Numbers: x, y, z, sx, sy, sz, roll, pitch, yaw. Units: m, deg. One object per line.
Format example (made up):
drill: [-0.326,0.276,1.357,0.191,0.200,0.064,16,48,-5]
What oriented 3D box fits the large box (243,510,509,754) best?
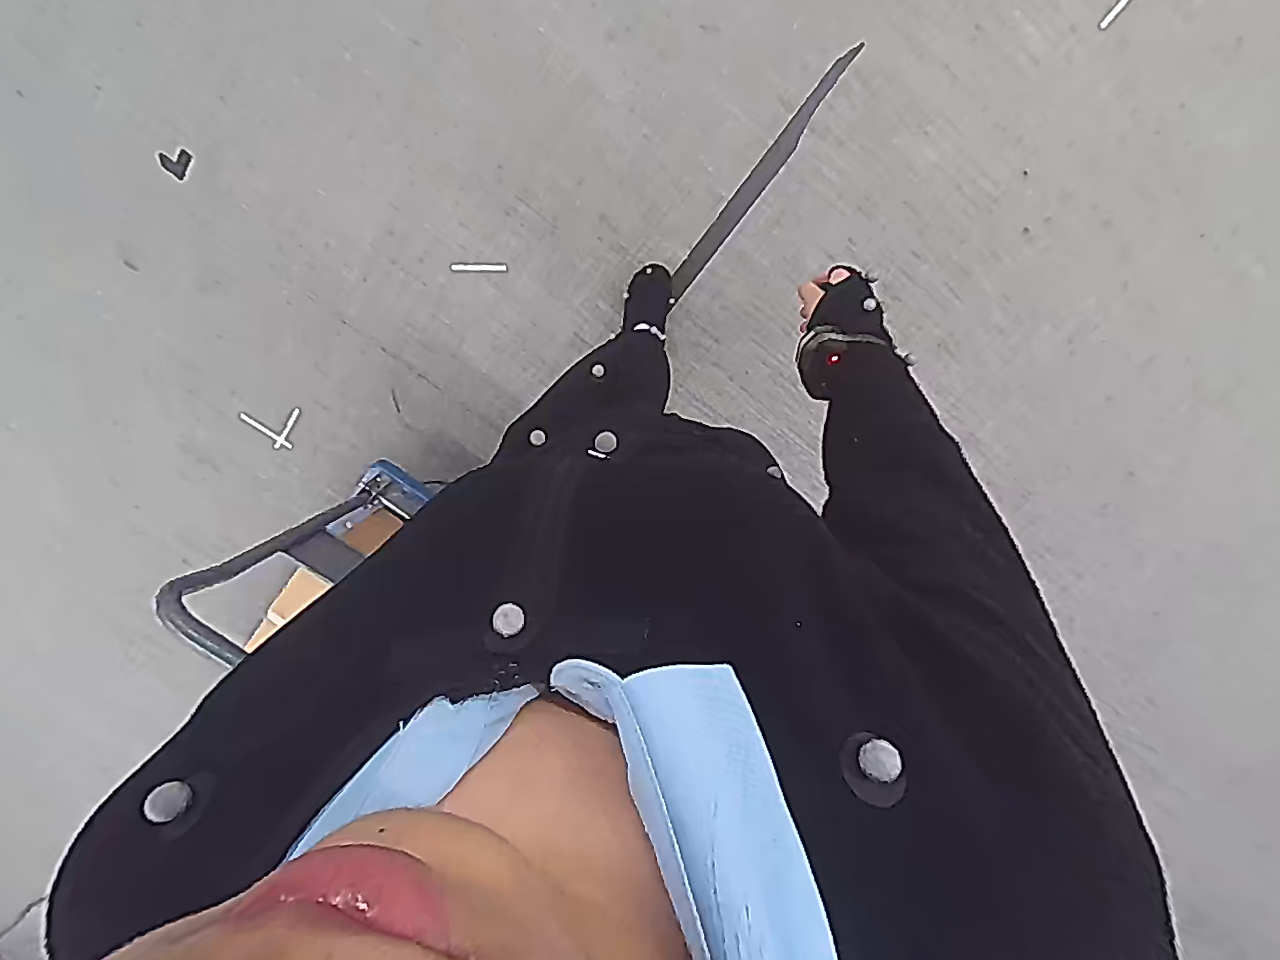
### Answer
large box: [-0.590,0.342,1.282,0.408,0.320,0.320,38,103,-8]
